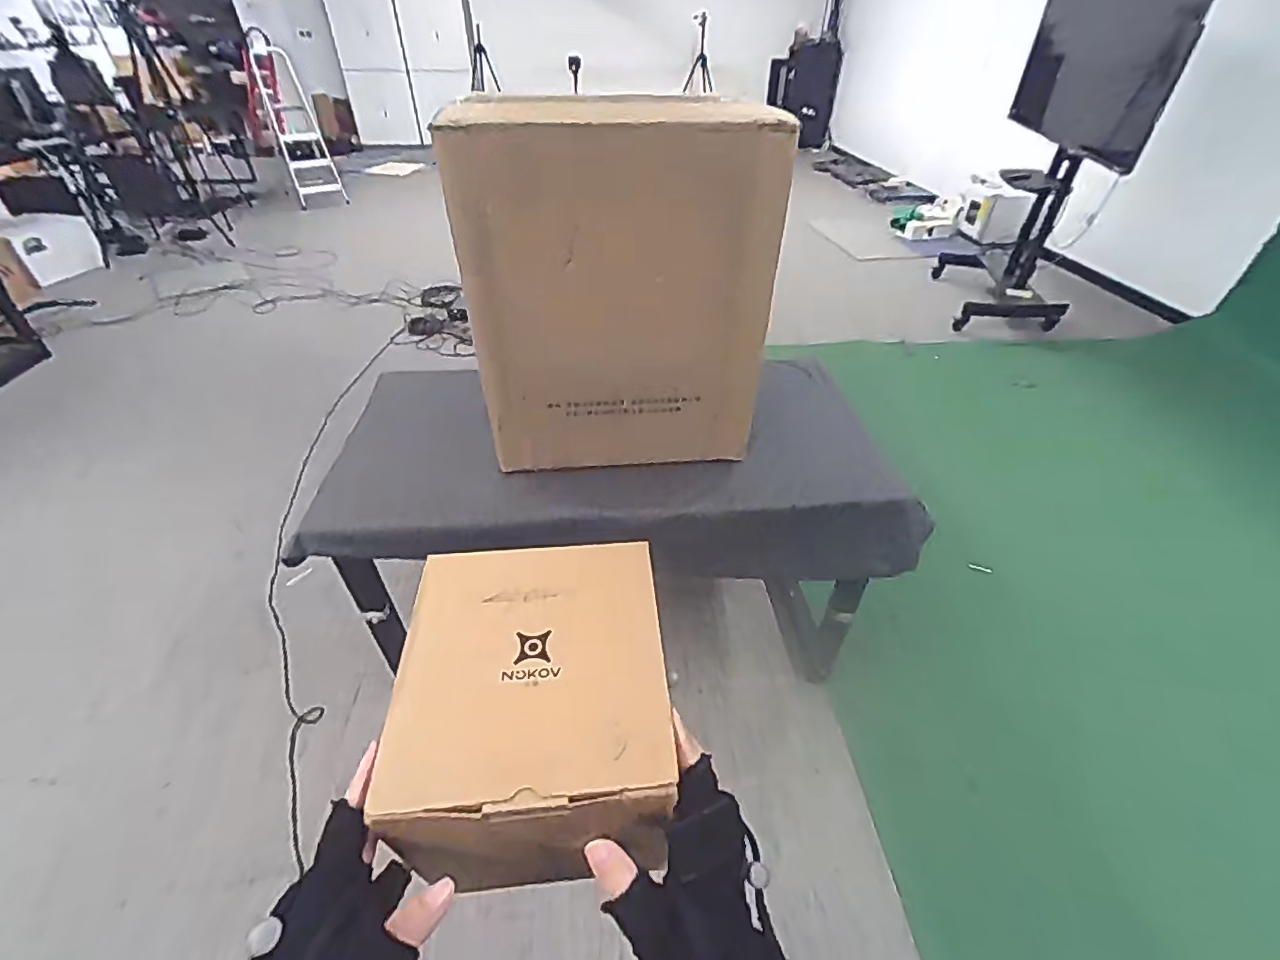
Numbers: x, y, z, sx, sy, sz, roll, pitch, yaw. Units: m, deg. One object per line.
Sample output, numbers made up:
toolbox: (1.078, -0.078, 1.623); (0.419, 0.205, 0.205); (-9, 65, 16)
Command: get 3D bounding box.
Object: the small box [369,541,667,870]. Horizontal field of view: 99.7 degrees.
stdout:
small box: (-0.073, 0.169, 0.406); (0.168, 0.176, 0.179); (-3, 42, -5)
